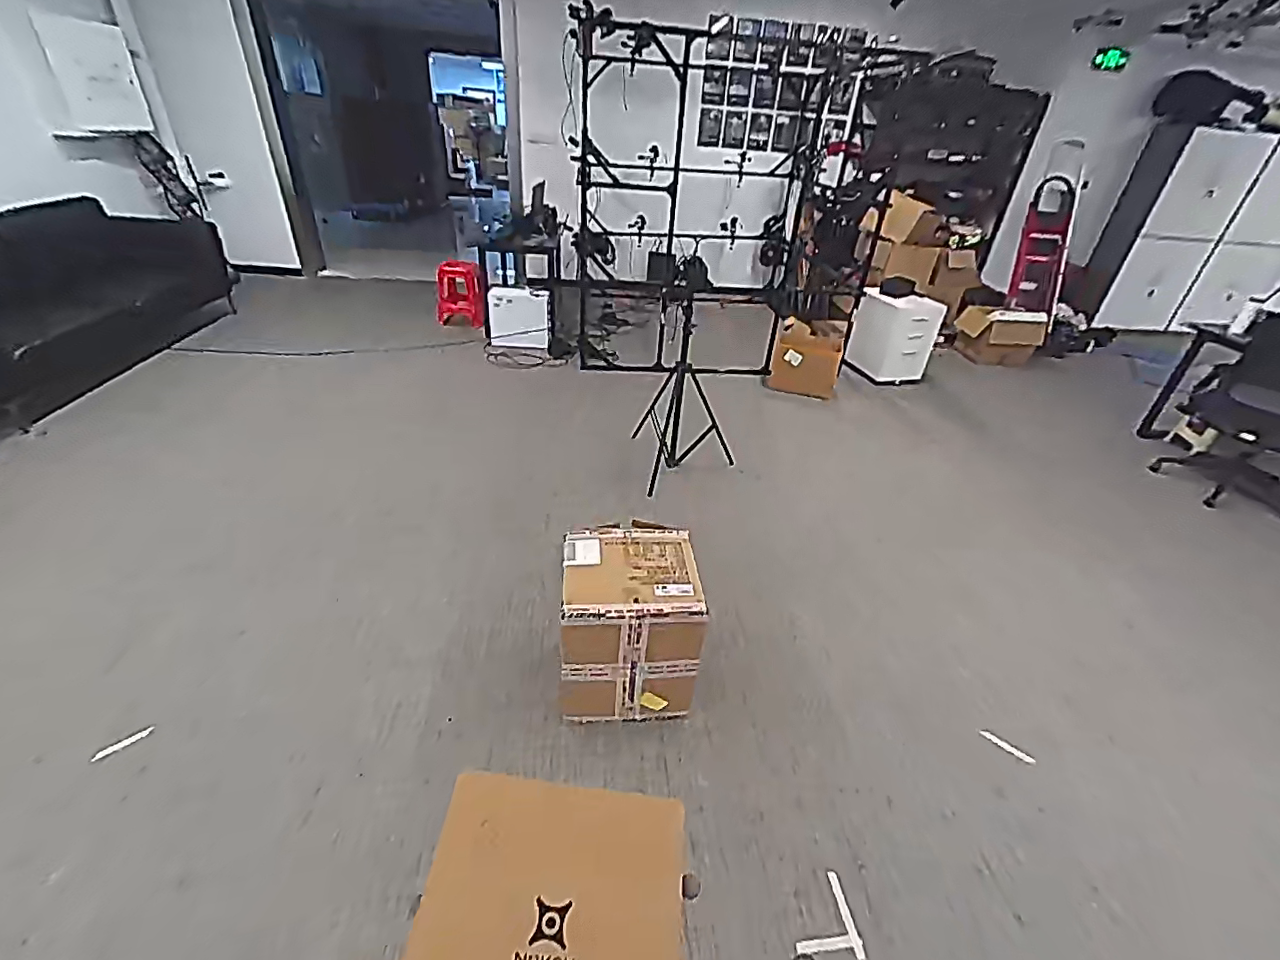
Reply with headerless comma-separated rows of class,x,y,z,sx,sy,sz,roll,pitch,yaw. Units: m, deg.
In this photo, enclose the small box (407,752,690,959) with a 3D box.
small box,-0.061,0.329,0.395,0.168,0.176,0.179,7,46,1
